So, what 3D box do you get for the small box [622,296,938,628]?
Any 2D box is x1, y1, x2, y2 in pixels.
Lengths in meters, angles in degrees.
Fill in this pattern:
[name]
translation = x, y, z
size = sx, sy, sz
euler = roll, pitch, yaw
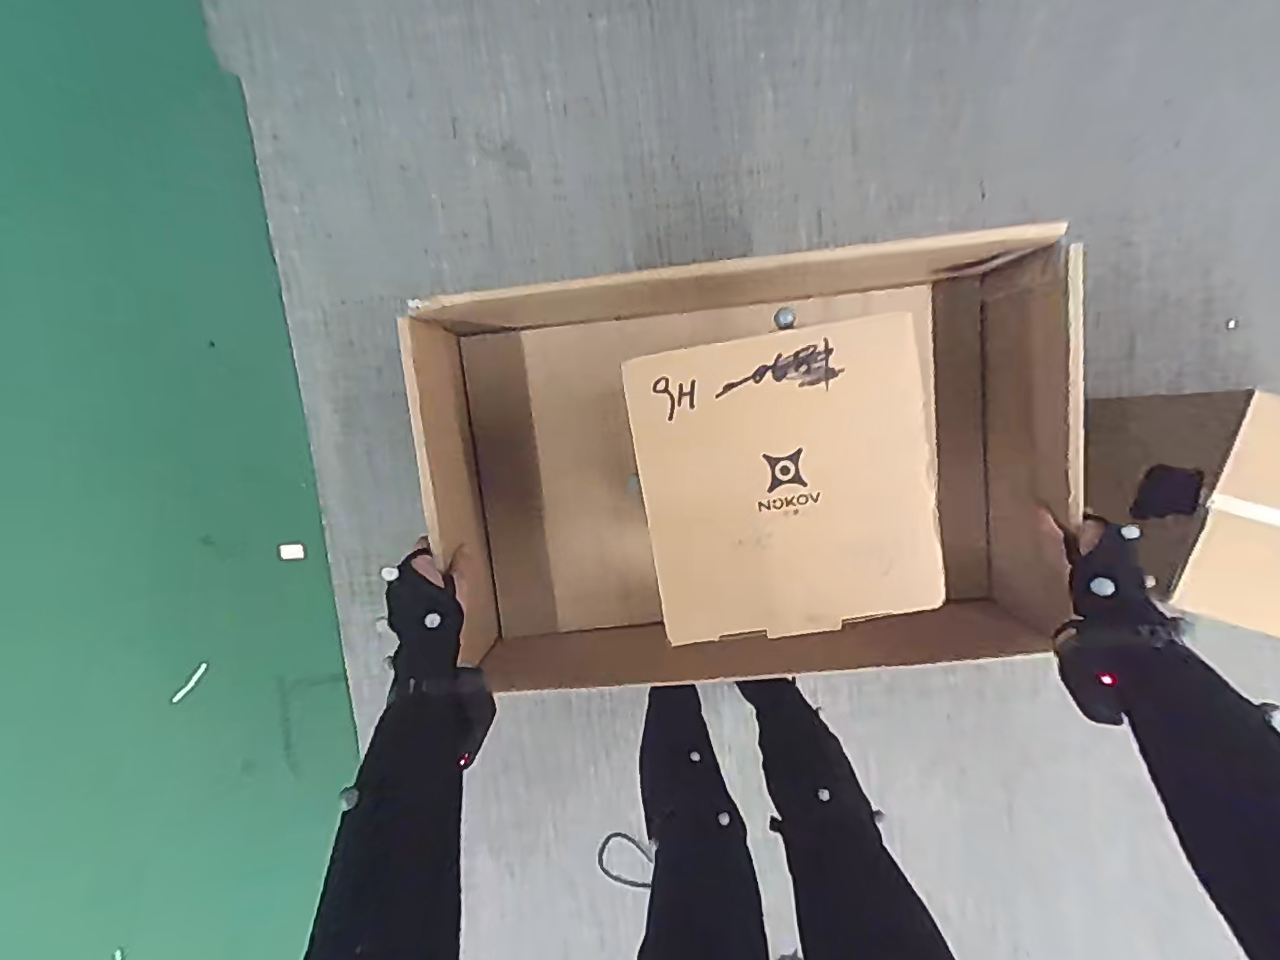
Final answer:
[small box]
translation = 0.086, -0.018, 0.391
size = 0.168, 0.176, 0.179
euler = -9, 98, 3
